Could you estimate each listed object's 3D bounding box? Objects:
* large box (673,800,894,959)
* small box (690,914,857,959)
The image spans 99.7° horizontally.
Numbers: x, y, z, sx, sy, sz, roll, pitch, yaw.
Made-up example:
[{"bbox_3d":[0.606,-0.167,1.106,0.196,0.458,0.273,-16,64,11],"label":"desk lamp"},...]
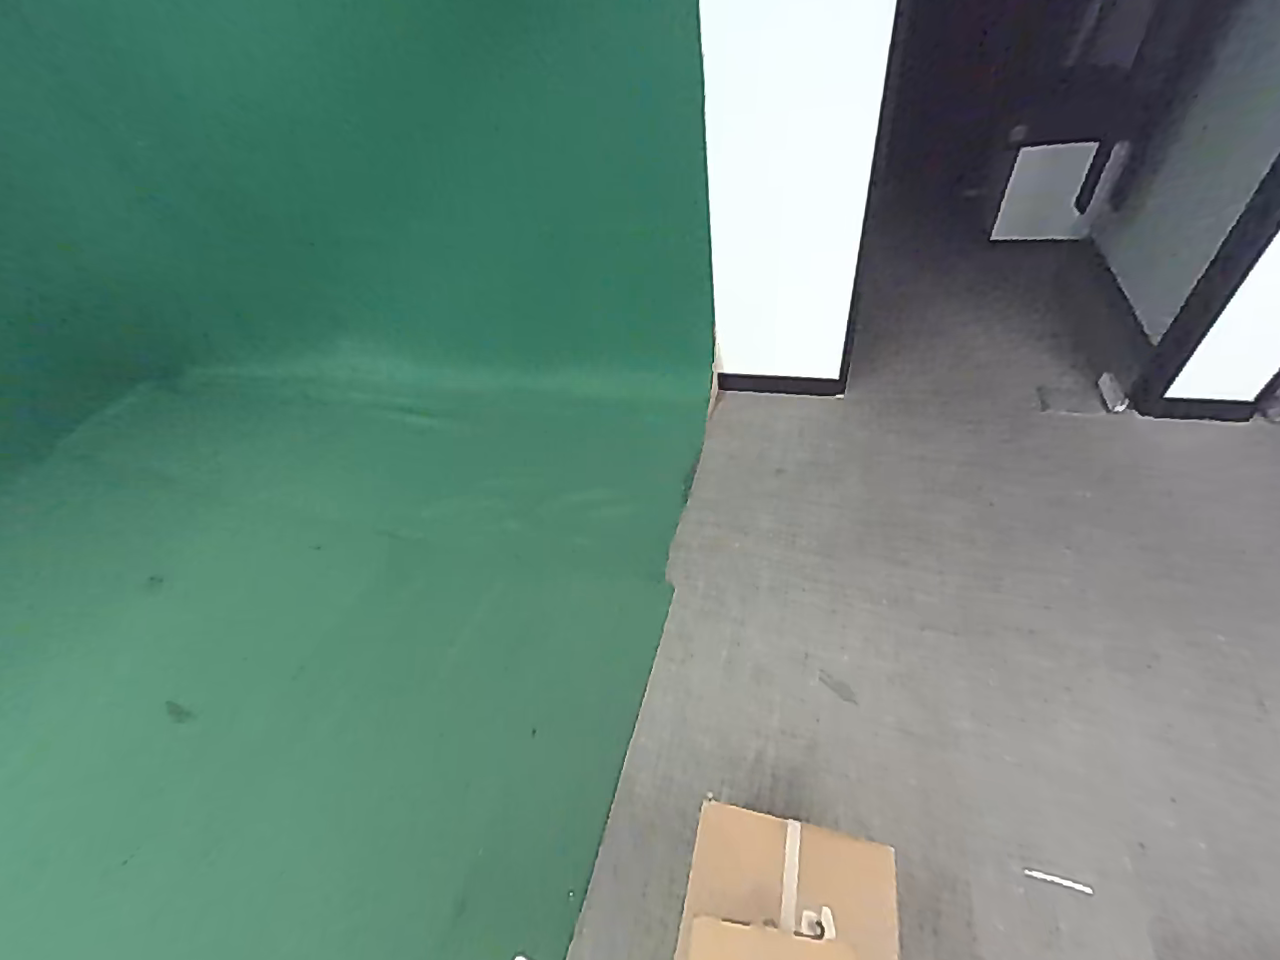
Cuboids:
[{"bbox_3d":[0.225,0.821,0.884,0.320,0.320,0.408,6,47,17],"label":"large box"},{"bbox_3d":[0.133,0.584,0.557,0.168,0.176,0.179,2,46,13],"label":"small box"}]
